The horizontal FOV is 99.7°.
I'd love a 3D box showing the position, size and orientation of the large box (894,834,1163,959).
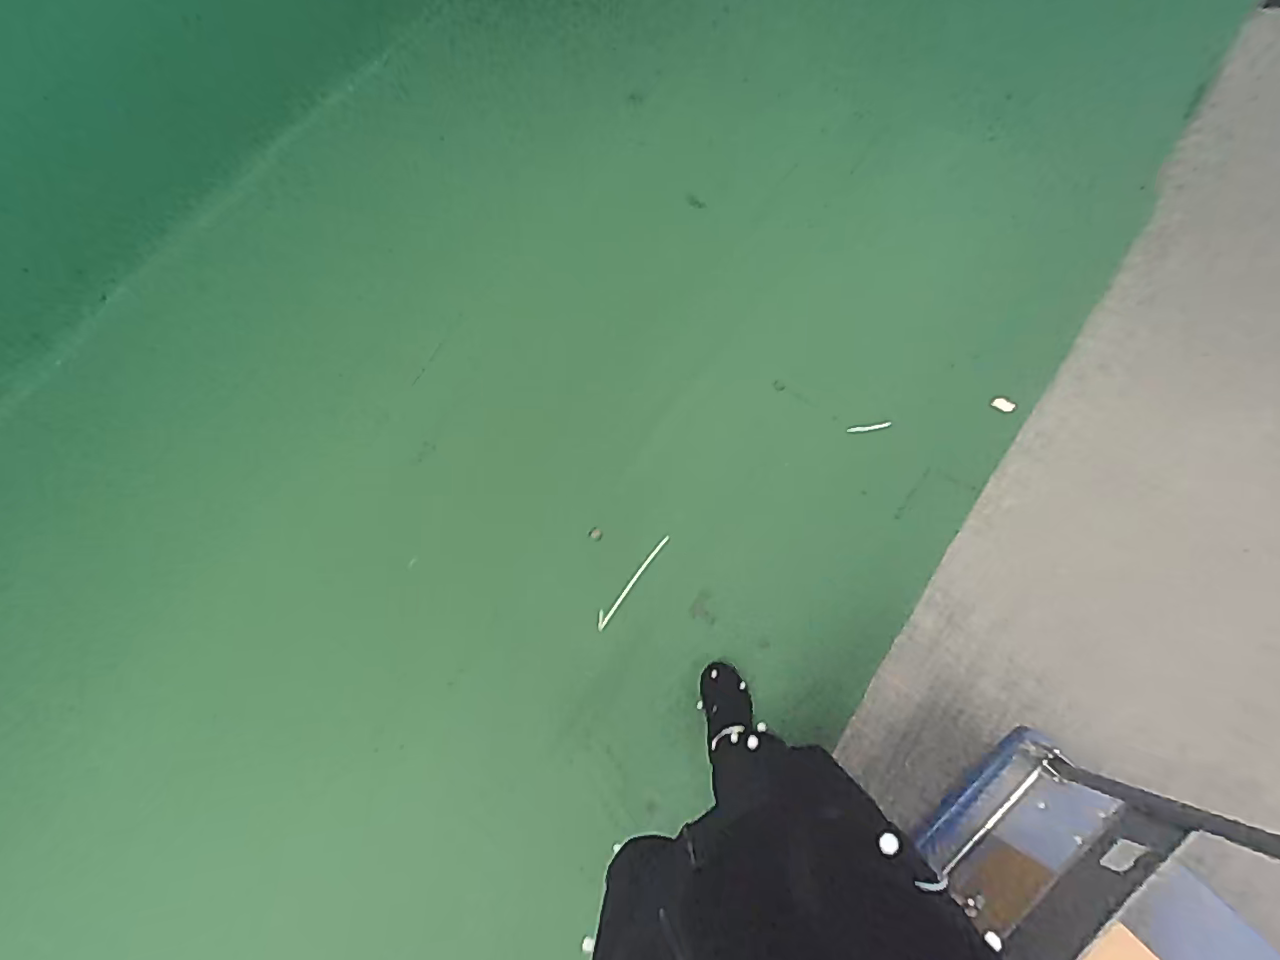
[{"bbox_3d":[0.713,0.895,0.875,0.320,0.320,0.408,-43,72,-7],"label":"large box"}]
